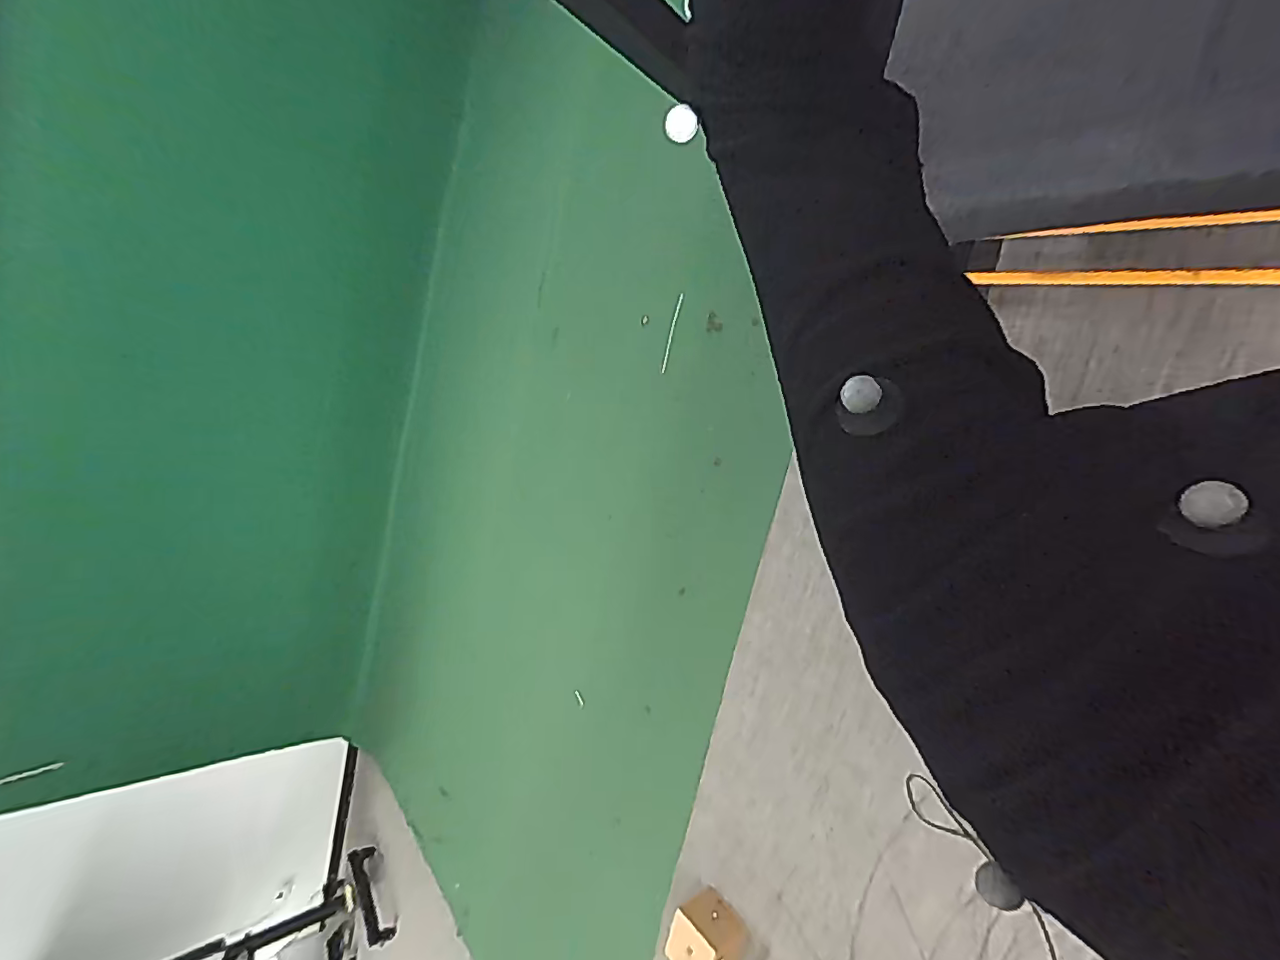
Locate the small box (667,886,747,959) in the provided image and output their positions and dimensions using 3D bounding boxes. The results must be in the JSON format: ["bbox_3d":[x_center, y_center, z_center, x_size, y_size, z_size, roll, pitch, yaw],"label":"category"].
[{"bbox_3d":[0.219,1.460,1.727,0.168,0.176,0.179,23,102,46],"label":"small box"}]
